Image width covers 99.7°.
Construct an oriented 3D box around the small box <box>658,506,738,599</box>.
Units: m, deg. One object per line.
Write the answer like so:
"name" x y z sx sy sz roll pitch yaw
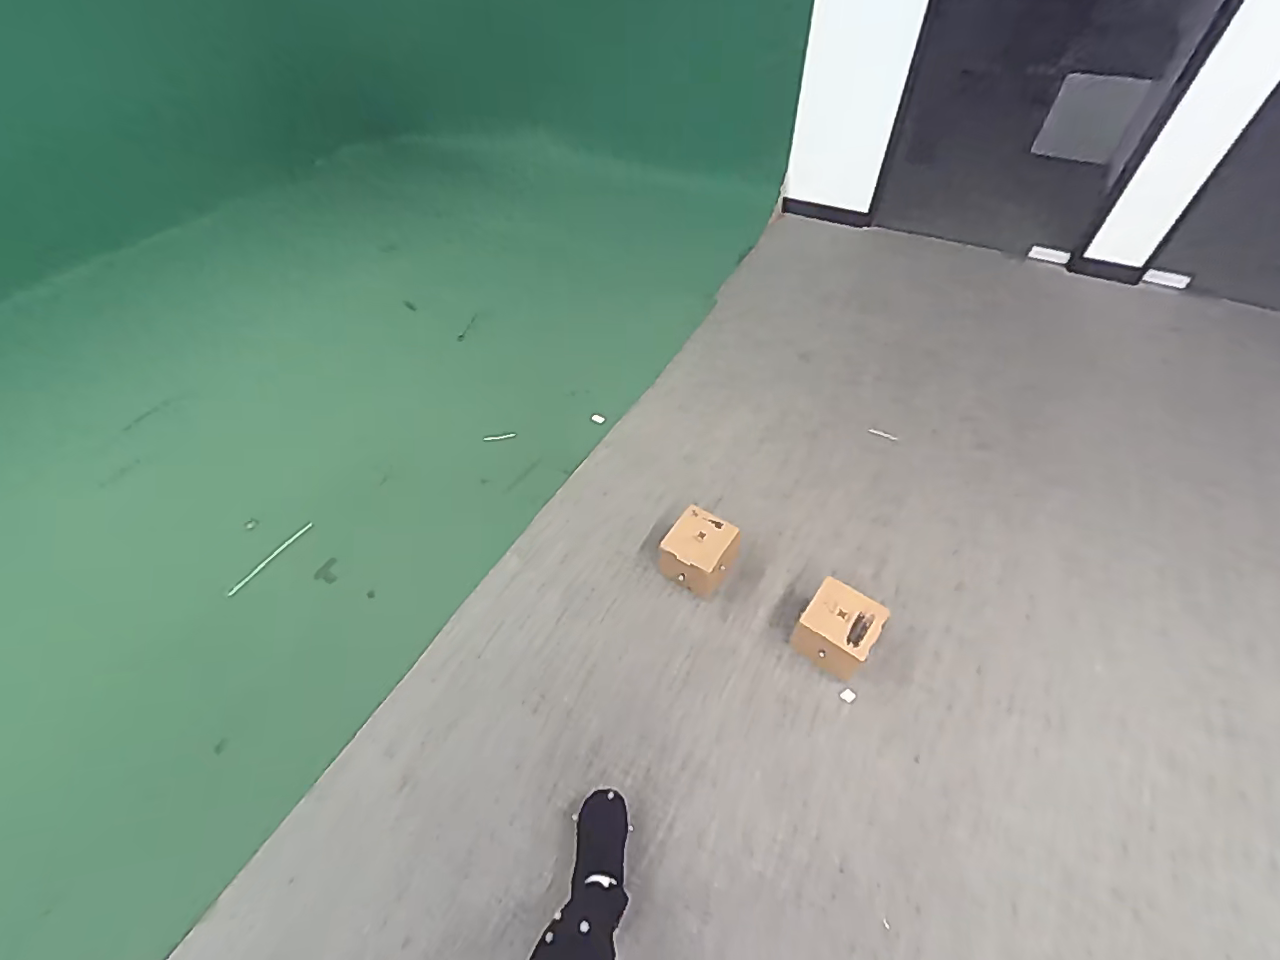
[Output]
"small box" 0.171 0.217 1.588 0.168 0.176 0.179 28 59 22
